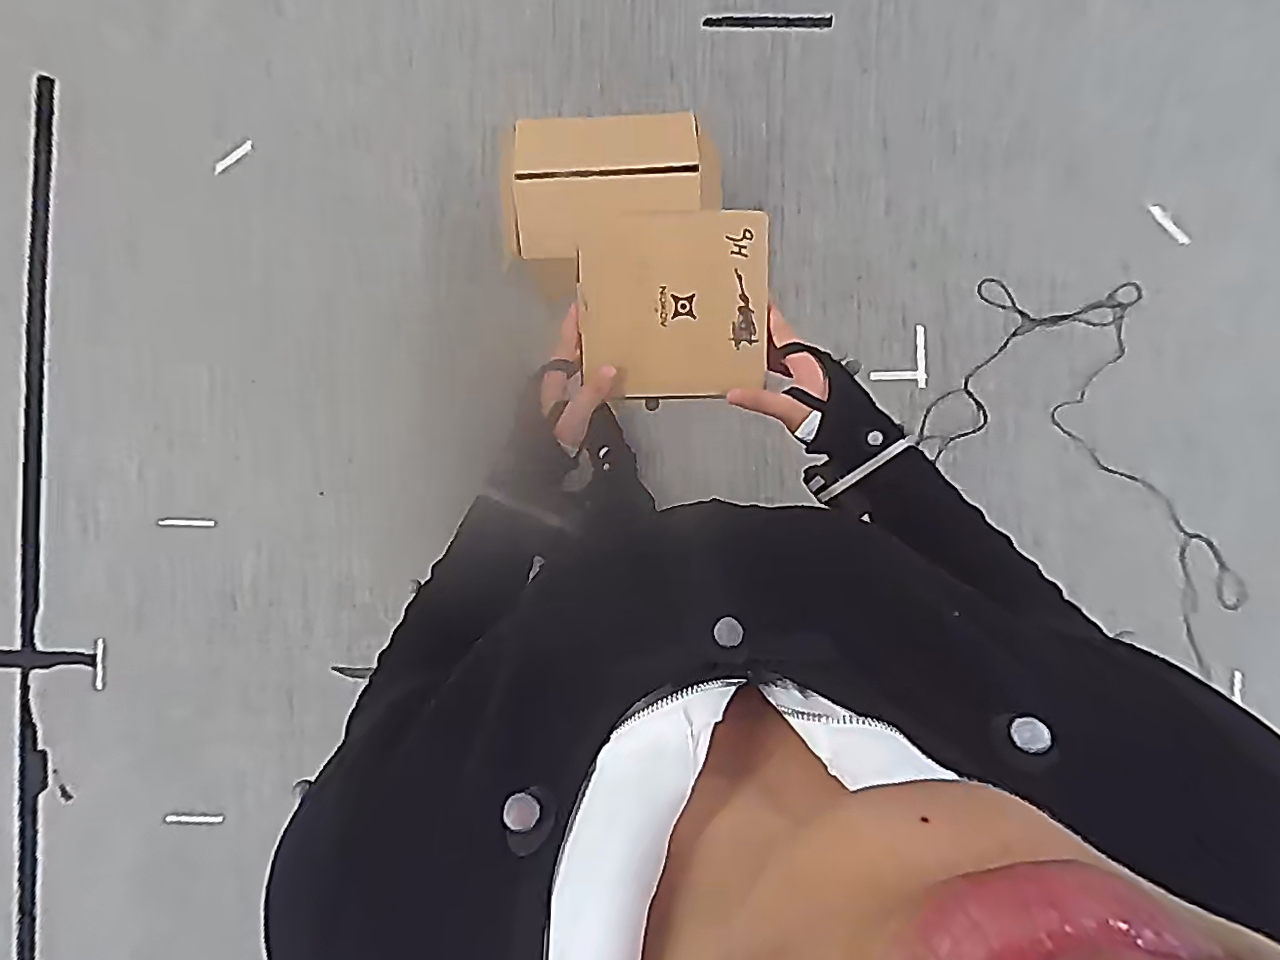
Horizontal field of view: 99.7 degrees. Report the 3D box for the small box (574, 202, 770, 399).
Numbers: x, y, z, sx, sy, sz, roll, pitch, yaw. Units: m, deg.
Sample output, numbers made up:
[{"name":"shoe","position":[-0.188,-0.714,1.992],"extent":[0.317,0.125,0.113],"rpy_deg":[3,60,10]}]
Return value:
[{"name":"small box","position":[0.027,-0.172,0.564],"extent":[0.179,0.176,0.168],"rpy_deg":[-1,97,-3]}]
